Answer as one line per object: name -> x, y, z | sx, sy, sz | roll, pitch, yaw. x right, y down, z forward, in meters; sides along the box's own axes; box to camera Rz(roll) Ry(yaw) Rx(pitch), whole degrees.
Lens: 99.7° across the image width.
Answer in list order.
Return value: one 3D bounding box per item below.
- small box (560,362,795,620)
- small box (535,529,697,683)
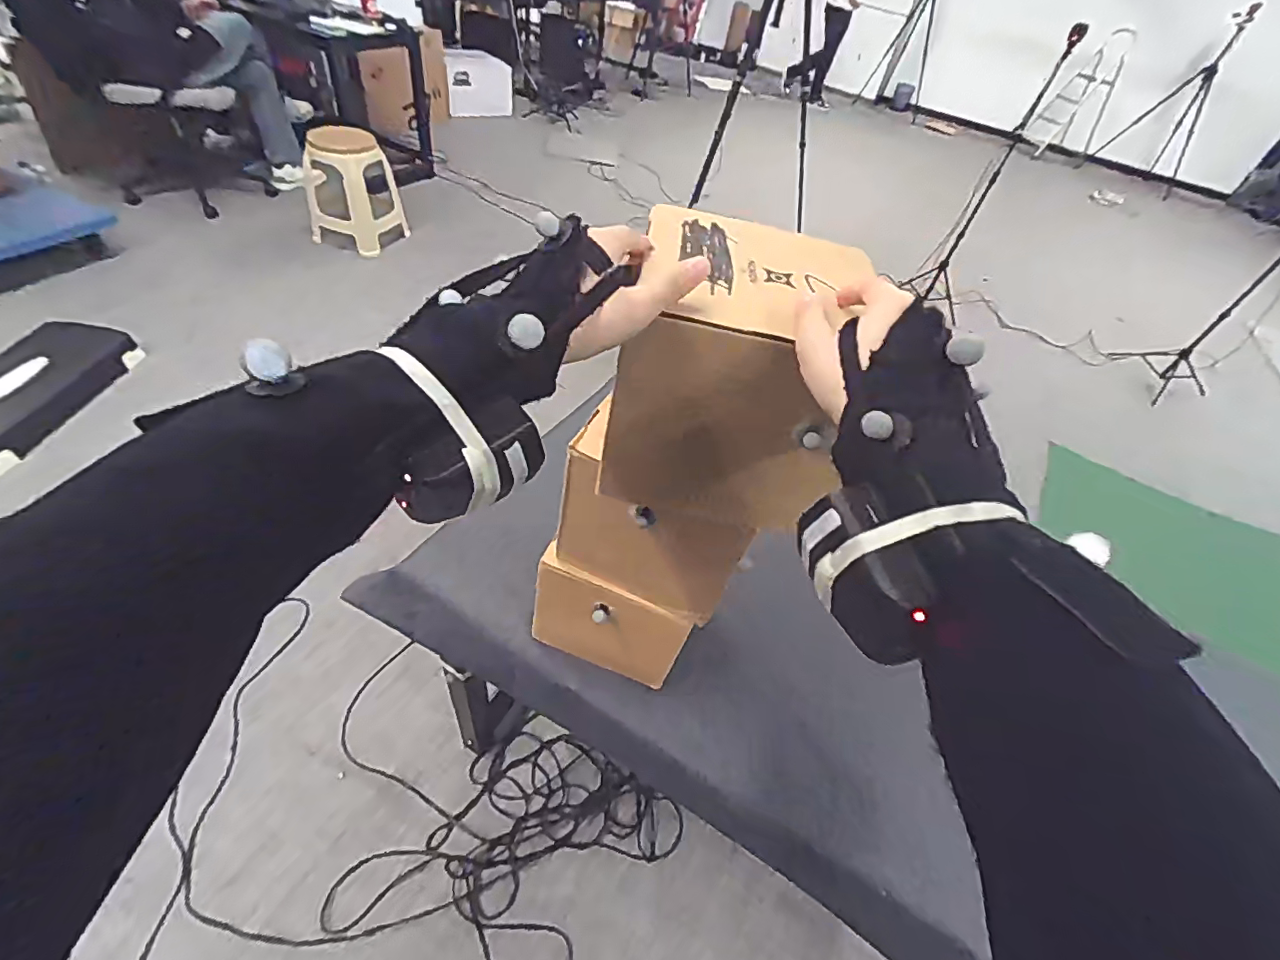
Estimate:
small box -> 0.031, 0.014, 0.555 | 0.179, 0.176, 0.168 | 25, 47, 9
small box -> -0.015, 0.124, 0.666 | 0.179, 0.176, 0.168 | 21, 45, 7
